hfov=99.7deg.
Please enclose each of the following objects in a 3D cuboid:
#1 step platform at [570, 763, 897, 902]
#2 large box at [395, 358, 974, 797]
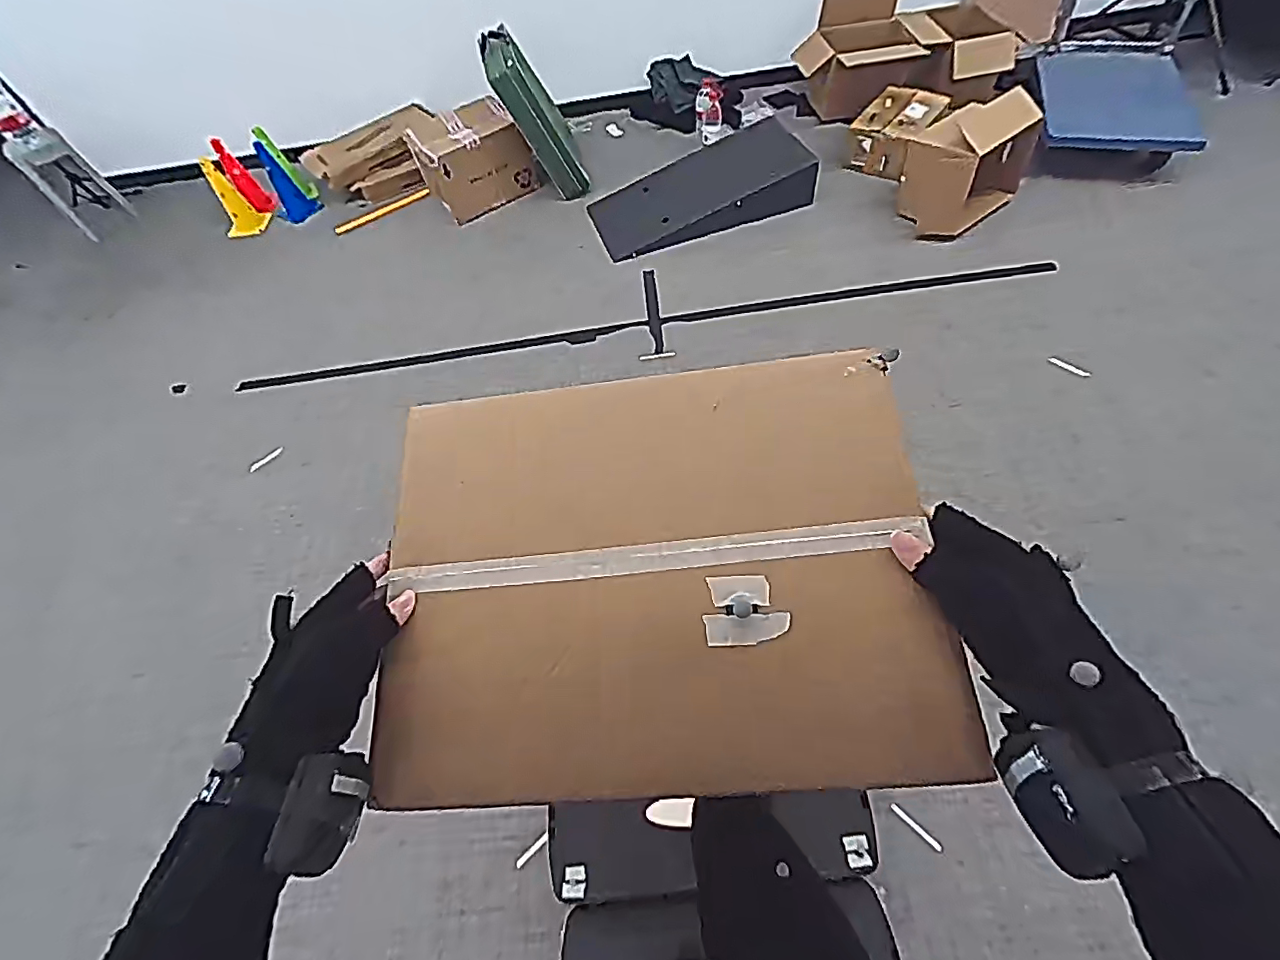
[{"bbox_3d":[0.189,0.725,1.199,0.684,0.204,0.286,-8,57,2],"label":"step platform"},{"bbox_3d":[0.028,0.115,0.558,0.408,0.320,0.320,-6,68,6],"label":"large box"}]
